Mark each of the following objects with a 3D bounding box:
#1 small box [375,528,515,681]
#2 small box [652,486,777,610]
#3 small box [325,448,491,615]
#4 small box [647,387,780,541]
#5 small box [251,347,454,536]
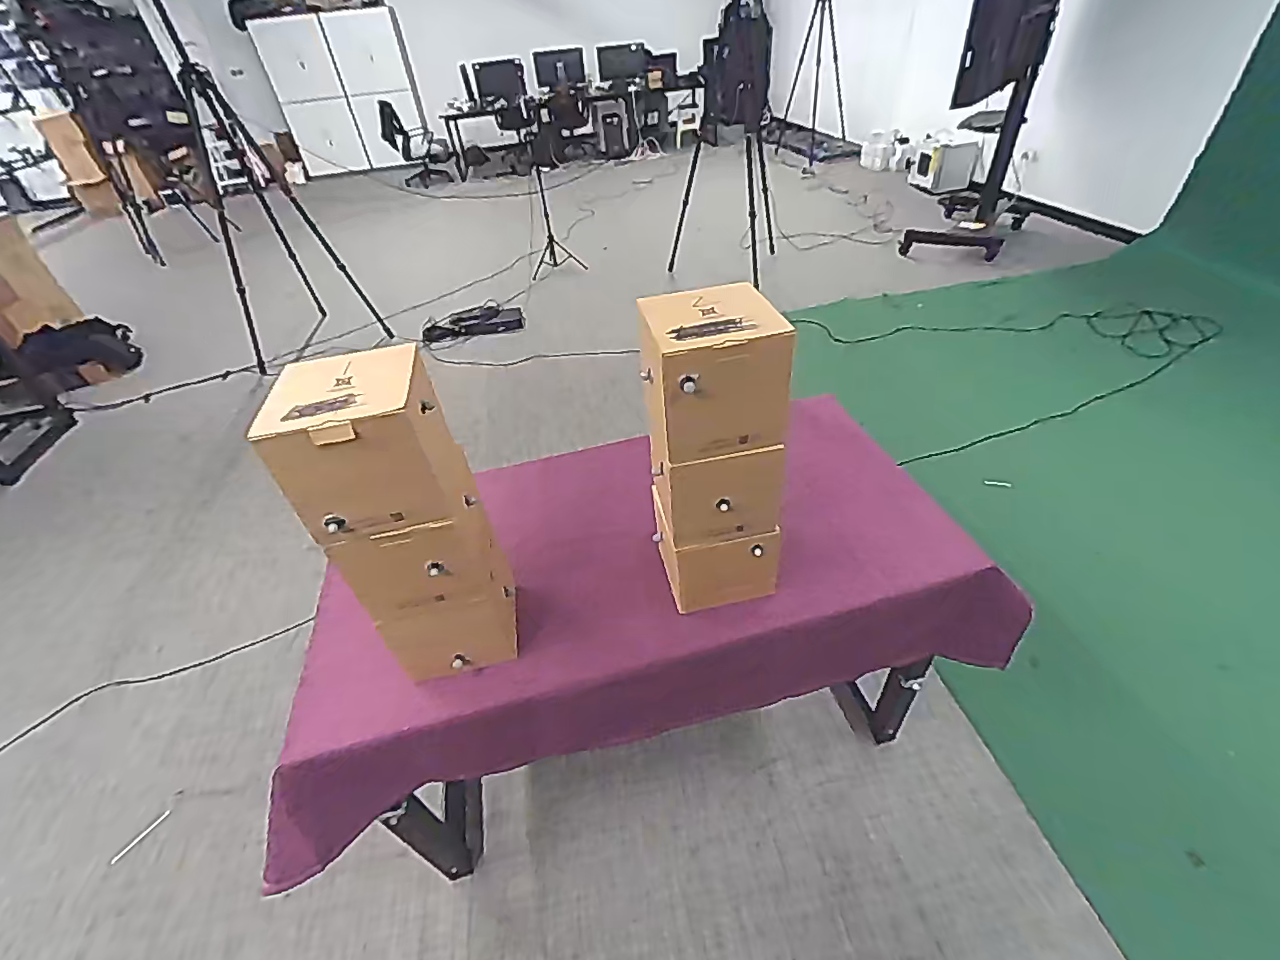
[{"bbox_3d":[-0.310,0.208,0.903,0.179,0.176,0.168,-12,40,-6],"label":"small box"},{"bbox_3d":[0.129,0.107,0.954,0.179,0.176,0.168,-11,40,-5],"label":"small box"},{"bbox_3d":[-0.325,0.081,0.801,0.168,0.176,0.179,-11,40,-5],"label":"small box"},{"bbox_3d":[0.111,-0.021,0.852,0.168,0.176,0.179,-10,40,-3],"label":"small box"},{"bbox_3d":[-0.349,-0.045,0.698,0.168,0.176,0.179,-13,40,-7],"label":"small box"}]
